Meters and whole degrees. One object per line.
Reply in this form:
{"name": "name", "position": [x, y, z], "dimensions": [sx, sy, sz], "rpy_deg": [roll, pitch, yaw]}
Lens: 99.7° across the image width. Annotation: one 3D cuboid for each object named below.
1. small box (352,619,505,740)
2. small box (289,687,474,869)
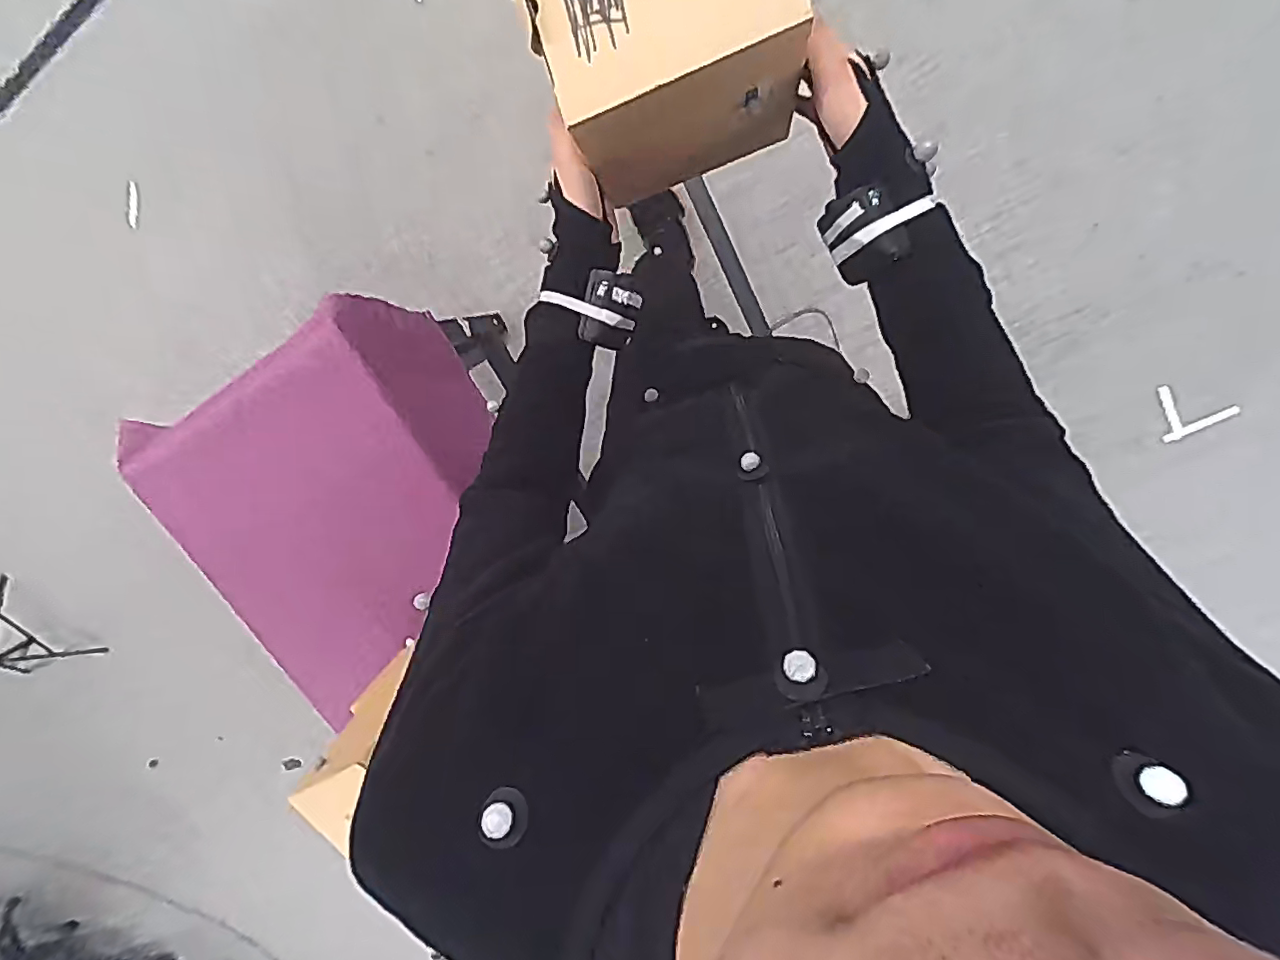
{"name": "small box", "position": [-0.391, 0.404, 1.032], "dimensions": [0.168, 0.176, 0.179], "rpy_deg": [-37, 100, 18]}
{"name": "small box", "position": [-0.409, 0.479, 0.885], "dimensions": [0.179, 0.176, 0.168], "rpy_deg": [-31, 103, 17]}
